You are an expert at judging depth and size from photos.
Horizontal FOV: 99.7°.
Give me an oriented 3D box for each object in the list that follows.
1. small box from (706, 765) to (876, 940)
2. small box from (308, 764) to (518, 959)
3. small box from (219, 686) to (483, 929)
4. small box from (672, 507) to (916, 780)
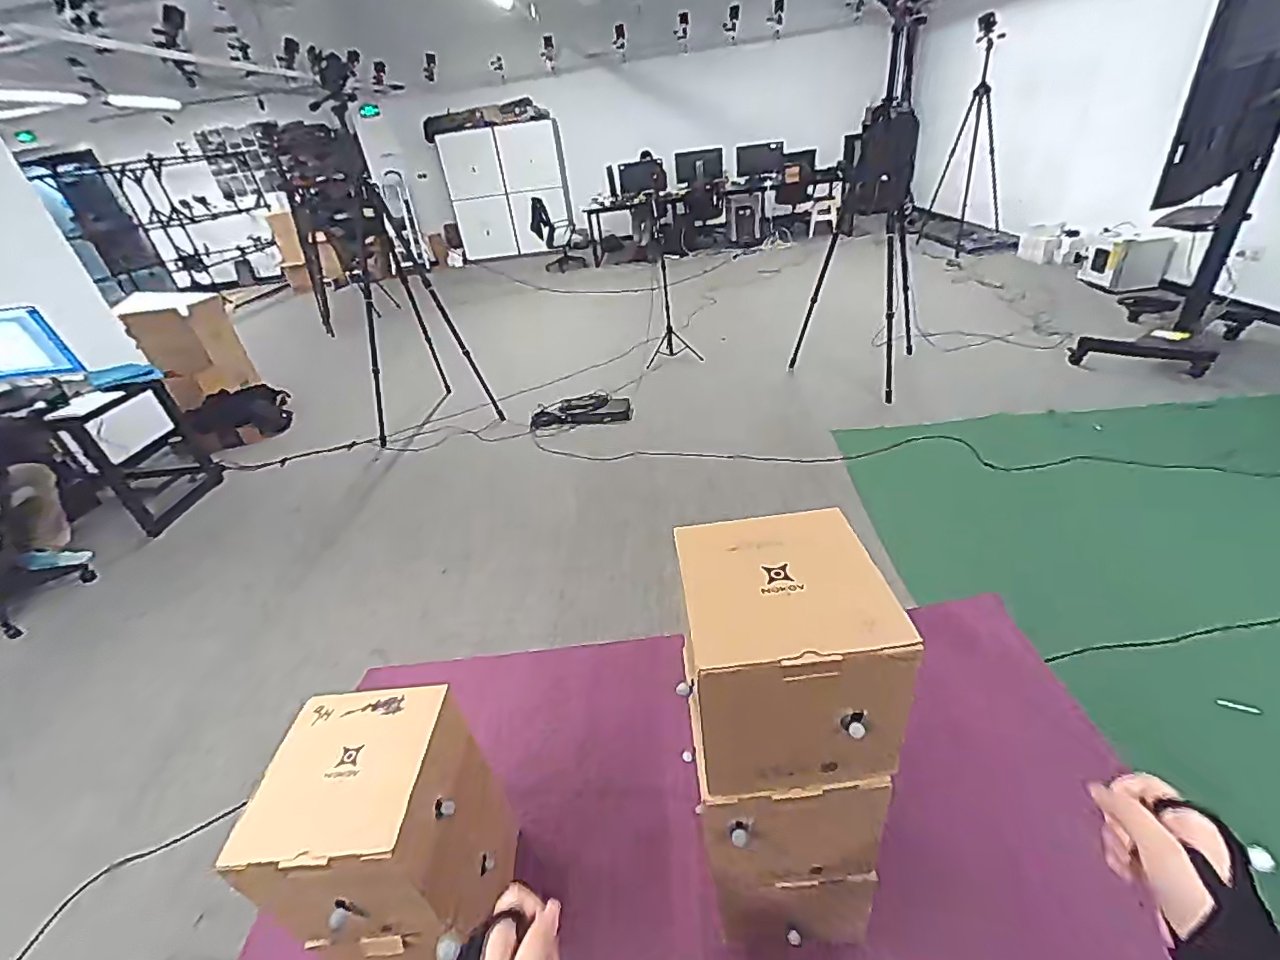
[{"bbox_3d":[0.170,0.427,0.667,0.168,0.176,0.179,-7,33,5],"label":"small box"},{"bbox_3d":[-0.260,0.491,0.673,0.168,0.176,0.179,-8,32,2],"label":"small box"},{"bbox_3d":[-0.284,0.354,0.585,0.168,0.176,0.179,-6,34,3],"label":"small box"},{"bbox_3d":[0.125,0.150,0.497,0.168,0.176,0.179,-7,32,2],"label":"small box"}]
